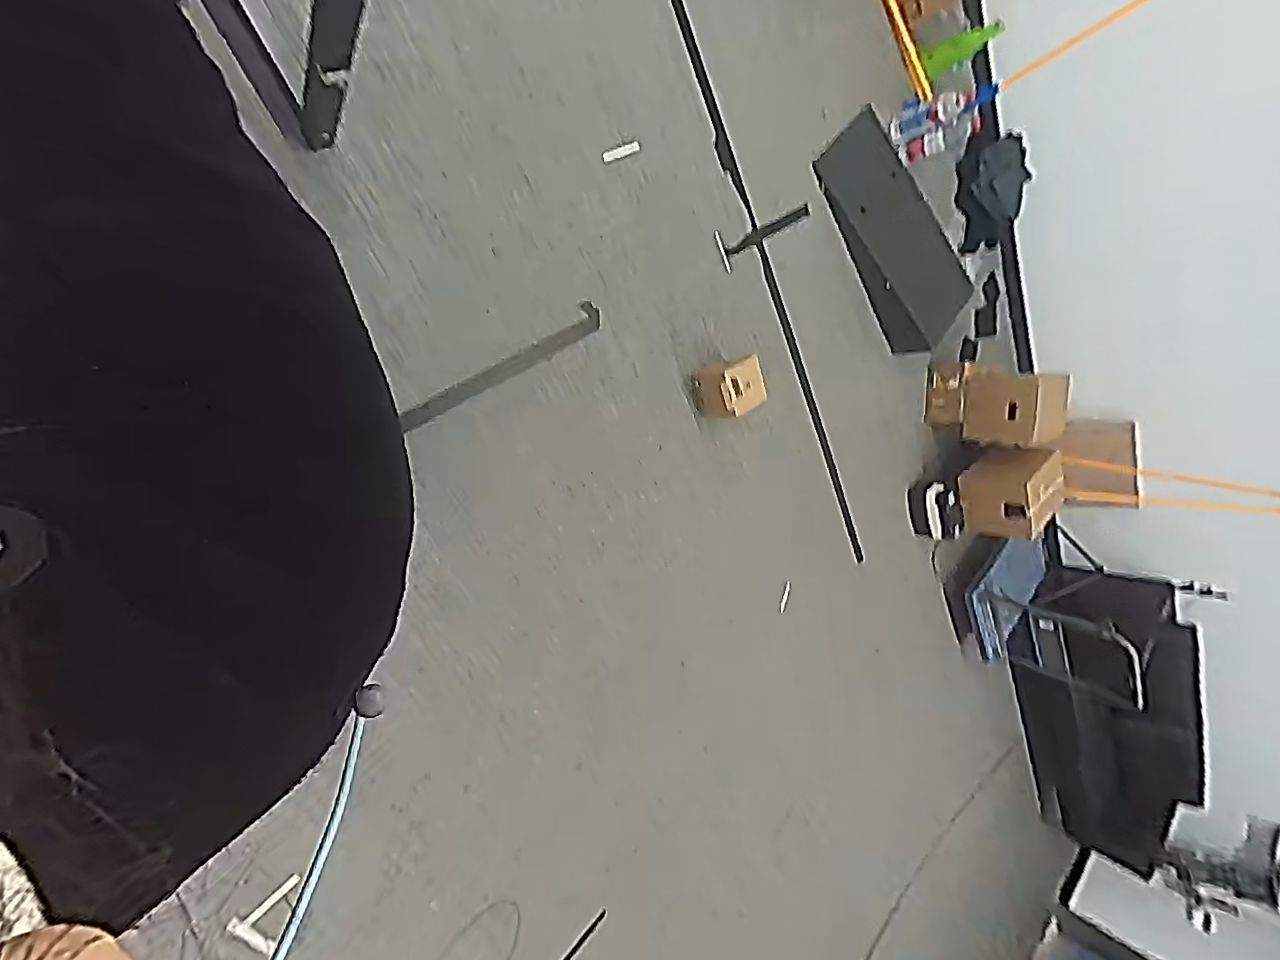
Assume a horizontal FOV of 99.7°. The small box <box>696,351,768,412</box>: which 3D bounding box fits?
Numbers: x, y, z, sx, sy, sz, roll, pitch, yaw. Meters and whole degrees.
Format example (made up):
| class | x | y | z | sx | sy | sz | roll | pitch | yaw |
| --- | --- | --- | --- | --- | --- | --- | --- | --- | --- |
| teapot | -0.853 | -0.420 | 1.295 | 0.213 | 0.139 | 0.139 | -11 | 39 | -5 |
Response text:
| class | x | y | z | sx | sy | sz | roll | pitch | yaw |
| --- | --- | --- | --- | --- | --- | --- | --- | --- | --- |
| small box | 0.320 | -0.346 | 1.924 | 0.179 | 0.176 | 0.168 | -32 | 113 | -29 |
